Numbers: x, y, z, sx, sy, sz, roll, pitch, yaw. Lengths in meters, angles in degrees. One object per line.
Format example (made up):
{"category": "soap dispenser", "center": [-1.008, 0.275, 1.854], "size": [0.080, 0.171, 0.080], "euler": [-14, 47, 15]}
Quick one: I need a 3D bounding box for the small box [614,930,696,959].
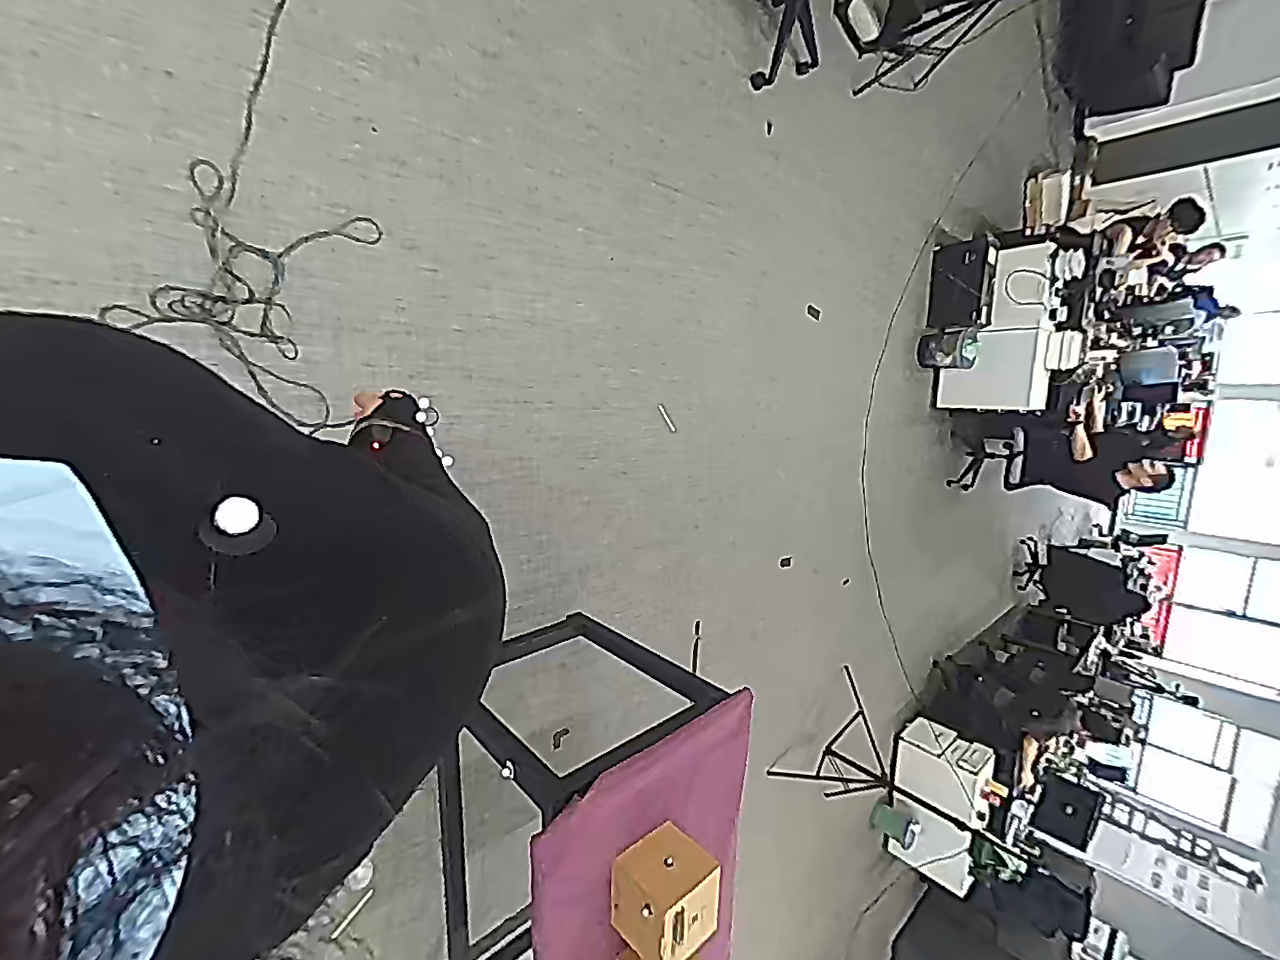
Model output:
{"category": "small box", "center": [0.035, 1.189, 1.237], "size": [0.168, 0.176, 0.179], "euler": [3, 96, -43]}
